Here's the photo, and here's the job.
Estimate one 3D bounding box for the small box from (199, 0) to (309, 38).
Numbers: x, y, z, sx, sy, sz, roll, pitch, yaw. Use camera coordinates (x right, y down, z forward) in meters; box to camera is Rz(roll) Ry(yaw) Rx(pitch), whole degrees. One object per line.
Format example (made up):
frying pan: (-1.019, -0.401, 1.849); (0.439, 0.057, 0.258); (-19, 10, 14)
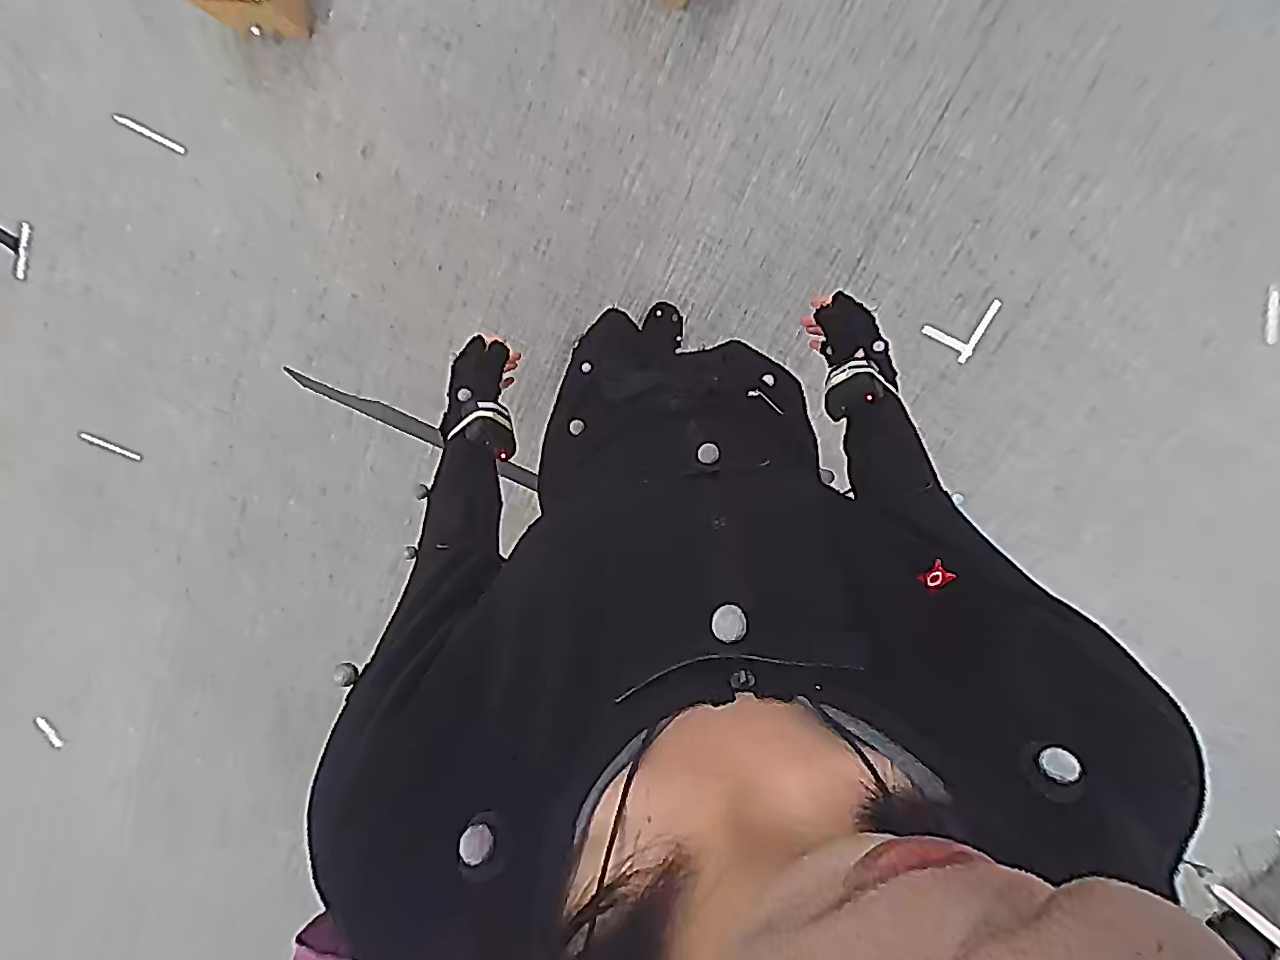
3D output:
small box: (-0.793, -1.028, 1.074); (0.168, 0.176, 0.179); (3, 110, -3)
